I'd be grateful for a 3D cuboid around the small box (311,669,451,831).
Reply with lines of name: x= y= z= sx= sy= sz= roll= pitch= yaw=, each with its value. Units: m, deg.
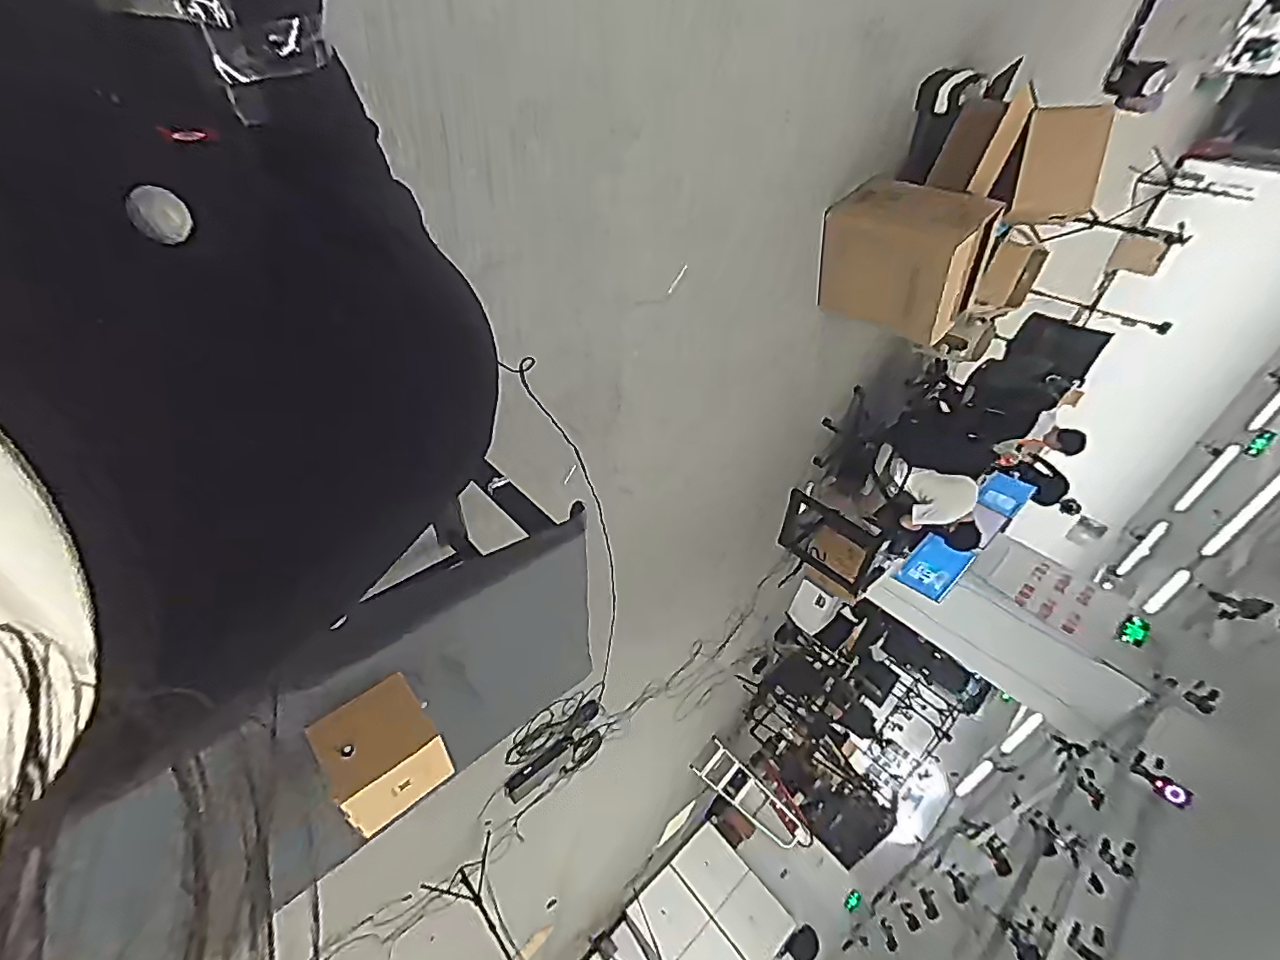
small box: x=-0.484 y=0.496 z=1.008 sx=0.179 sy=0.176 sz=0.168 roll=-30 pitch=142 yaw=-33
